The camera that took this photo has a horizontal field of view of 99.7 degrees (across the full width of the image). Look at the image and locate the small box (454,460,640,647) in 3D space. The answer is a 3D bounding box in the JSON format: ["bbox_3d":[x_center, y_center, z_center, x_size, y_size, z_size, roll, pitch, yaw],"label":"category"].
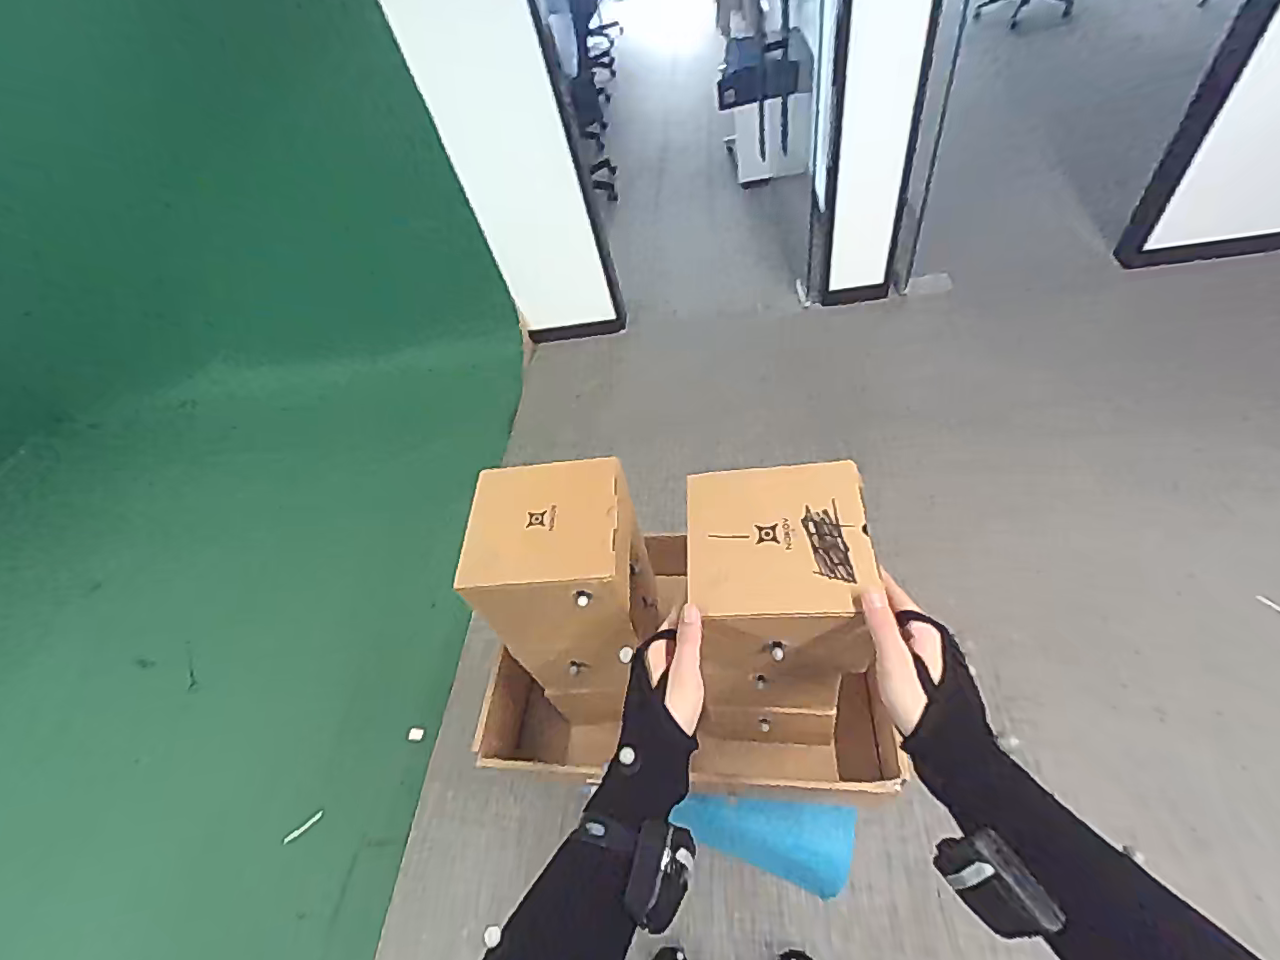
[{"bbox_3d":[-0.100,0.097,0.671,0.179,0.176,0.168,-5,51,6],"label":"small box"}]

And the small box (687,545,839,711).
[{"bbox_3d":[0.168,0.201,0.730,0.179,0.176,0.168,-3,52,14],"label":"small box"}]

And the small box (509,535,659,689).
[{"bbox_3d":[-0.070,0.199,0.795,0.179,0.176,0.168,-5,51,7],"label":"small box"}]
